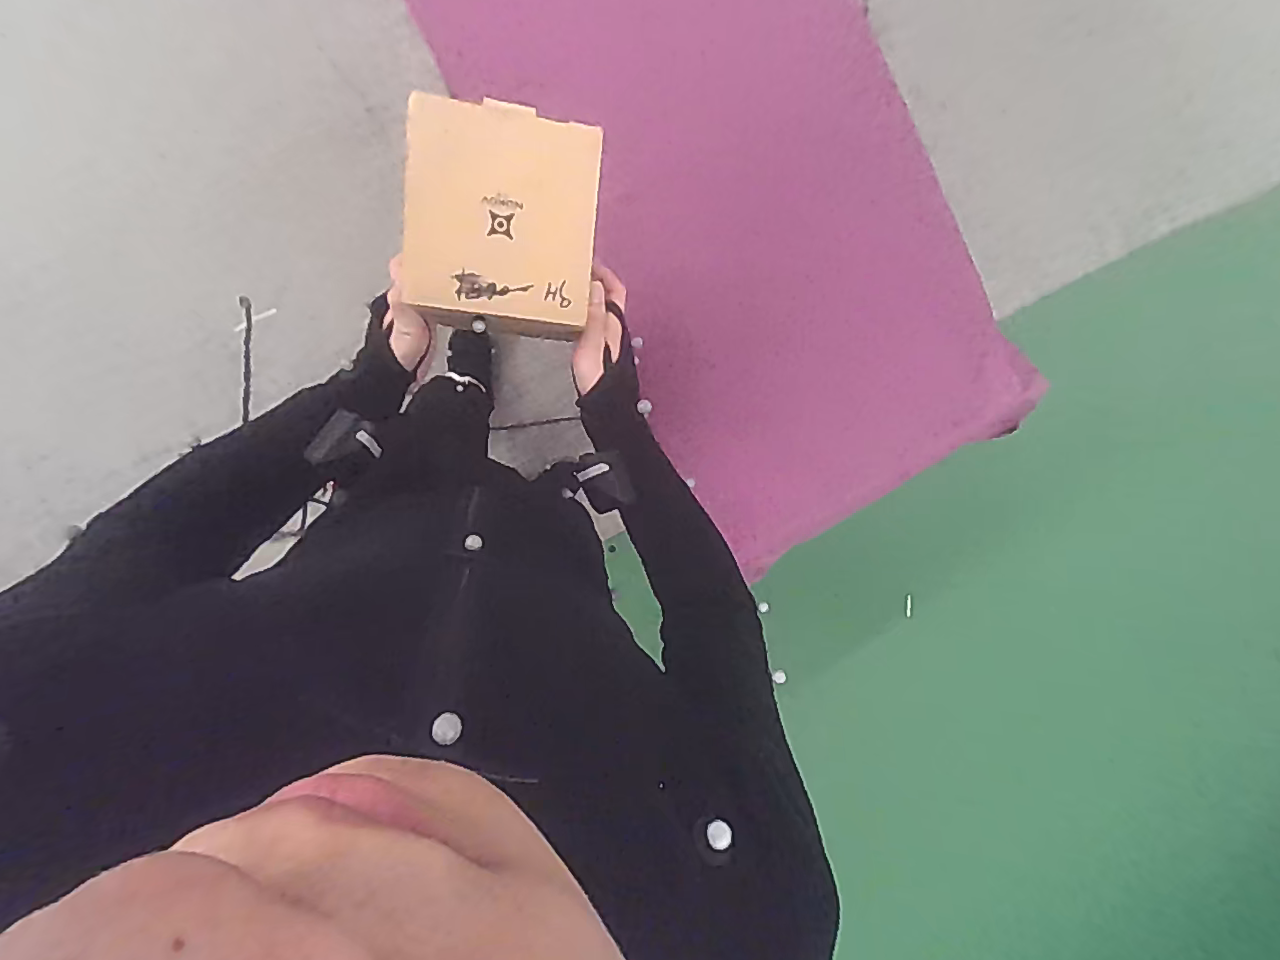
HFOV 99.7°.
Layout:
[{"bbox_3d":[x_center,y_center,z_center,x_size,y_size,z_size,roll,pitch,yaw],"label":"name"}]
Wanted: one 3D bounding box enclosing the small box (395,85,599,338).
[{"bbox_3d":[-0.138,-0.251,0.553,0.168,0.176,0.179,4,98,-9],"label":"small box"}]
